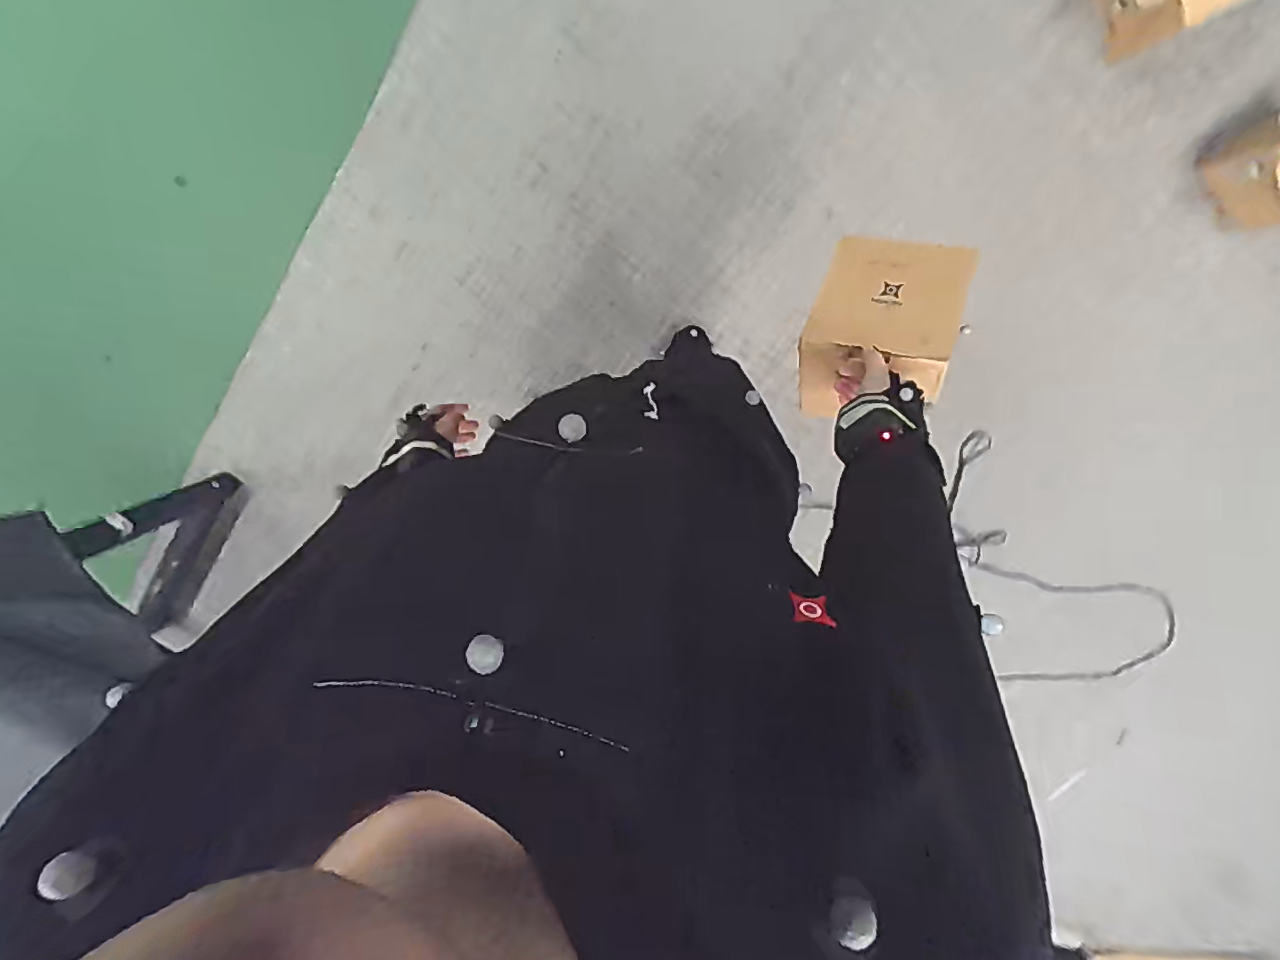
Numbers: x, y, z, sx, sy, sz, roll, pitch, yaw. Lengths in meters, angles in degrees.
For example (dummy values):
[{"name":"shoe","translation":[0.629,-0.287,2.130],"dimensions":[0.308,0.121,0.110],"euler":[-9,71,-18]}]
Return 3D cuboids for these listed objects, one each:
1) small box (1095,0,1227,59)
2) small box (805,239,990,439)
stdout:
[{"name":"small box","translation":[0.956,-0.898,0.947],"dimensions":[0.179,0.176,0.168],"euler":[-26,105,11]},{"name":"small box","translation":[0.323,-0.178,0.705],"dimensions":[0.168,0.176,0.179],"euler":[18,70,22]}]
